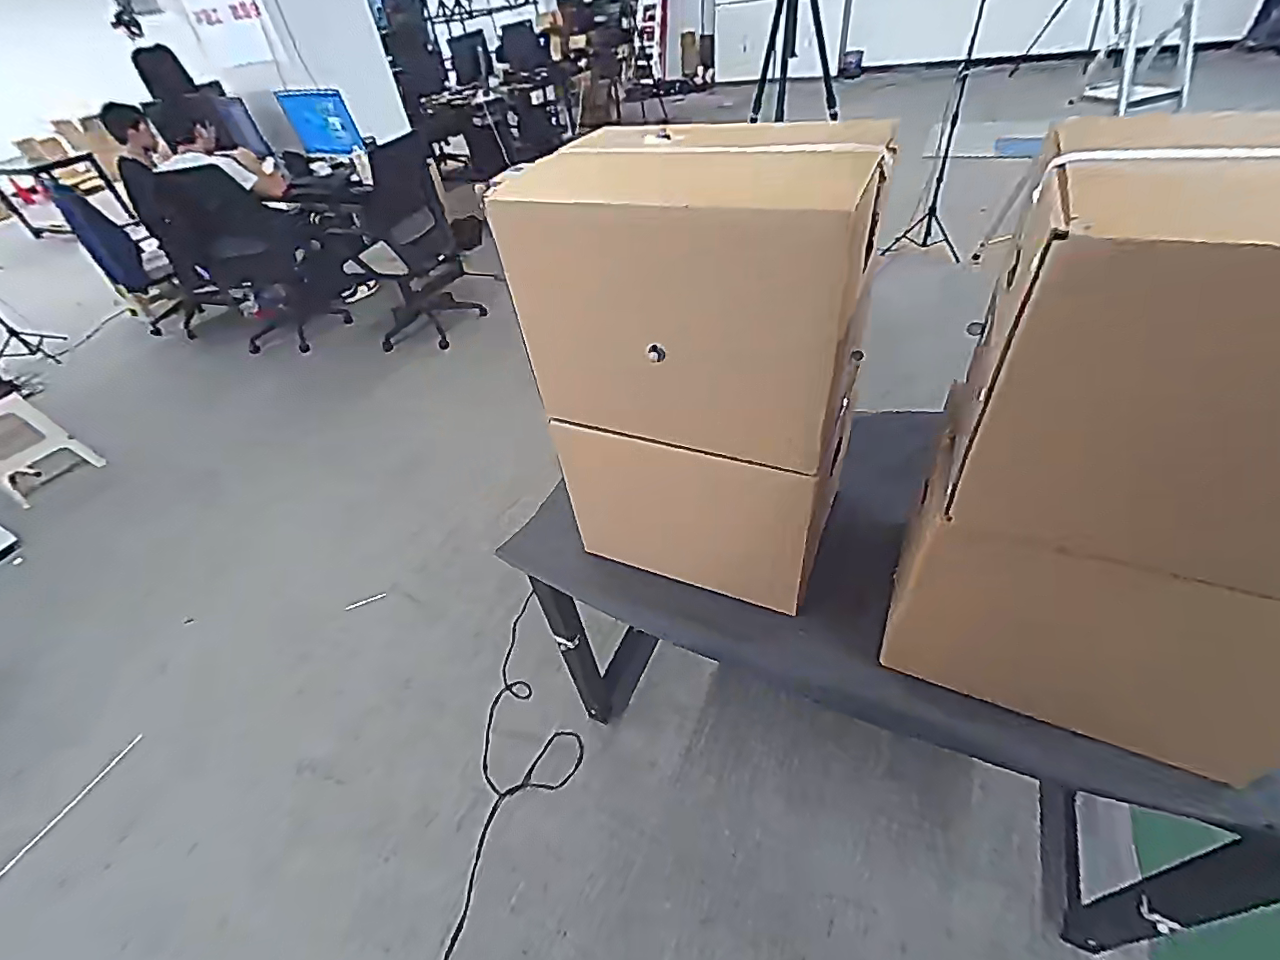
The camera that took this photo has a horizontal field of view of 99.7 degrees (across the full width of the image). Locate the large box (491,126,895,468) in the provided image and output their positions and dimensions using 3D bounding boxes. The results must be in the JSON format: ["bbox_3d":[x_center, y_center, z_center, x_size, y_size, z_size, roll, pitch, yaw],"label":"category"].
[{"bbox_3d":[0.089,-0.255,0.735,0.408,0.320,0.320,13,47,24],"label":"large box"}]
